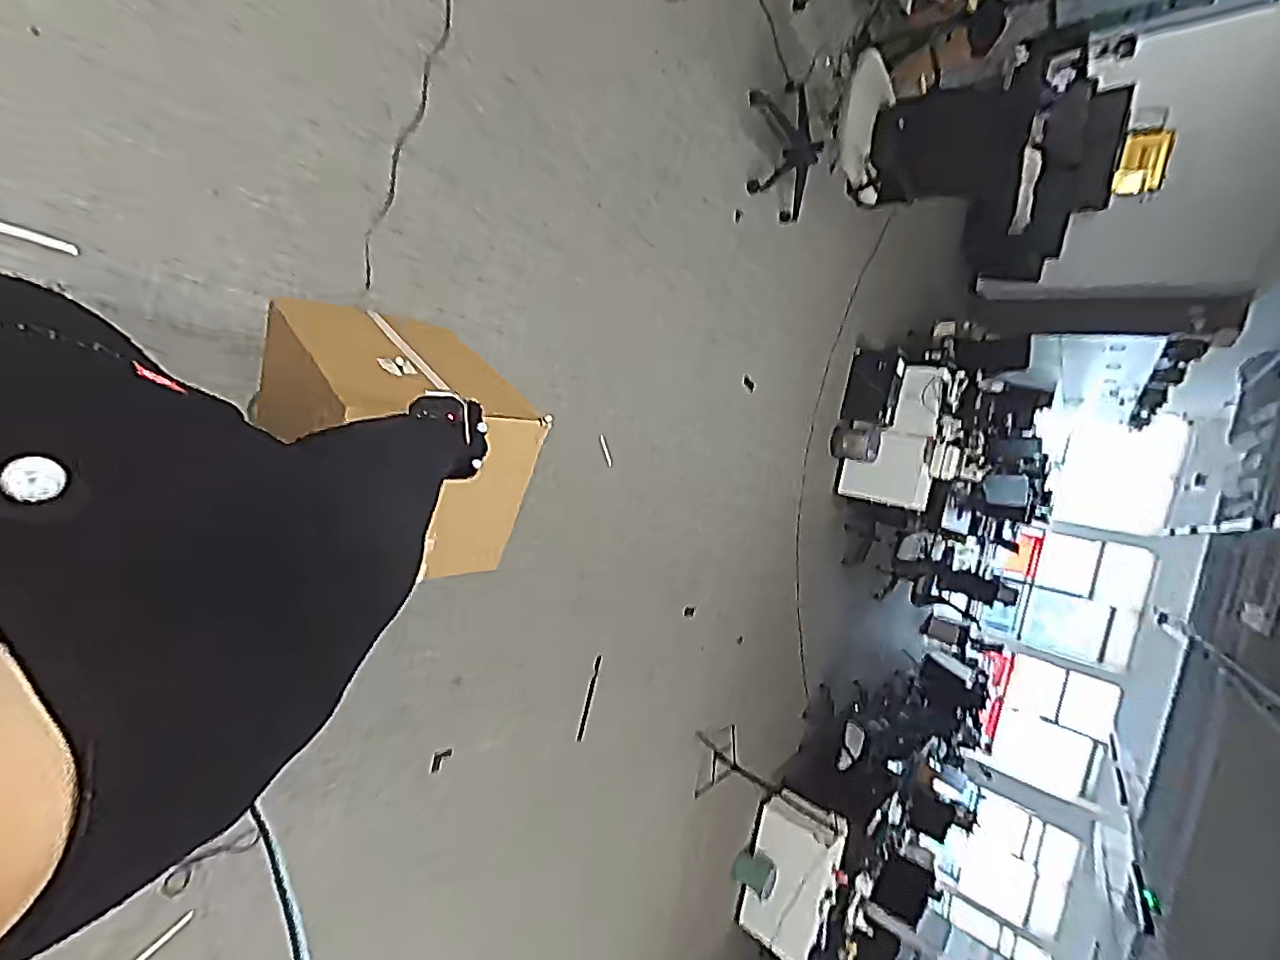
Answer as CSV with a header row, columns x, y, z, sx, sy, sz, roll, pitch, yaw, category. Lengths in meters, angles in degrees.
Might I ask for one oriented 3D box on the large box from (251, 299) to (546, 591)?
x,y,z,sx,sy,sz,roll,pitch,yaw,category
-0.442,-0.069,0.955,0.320,0.408,0.320,-3,125,-47,large box
